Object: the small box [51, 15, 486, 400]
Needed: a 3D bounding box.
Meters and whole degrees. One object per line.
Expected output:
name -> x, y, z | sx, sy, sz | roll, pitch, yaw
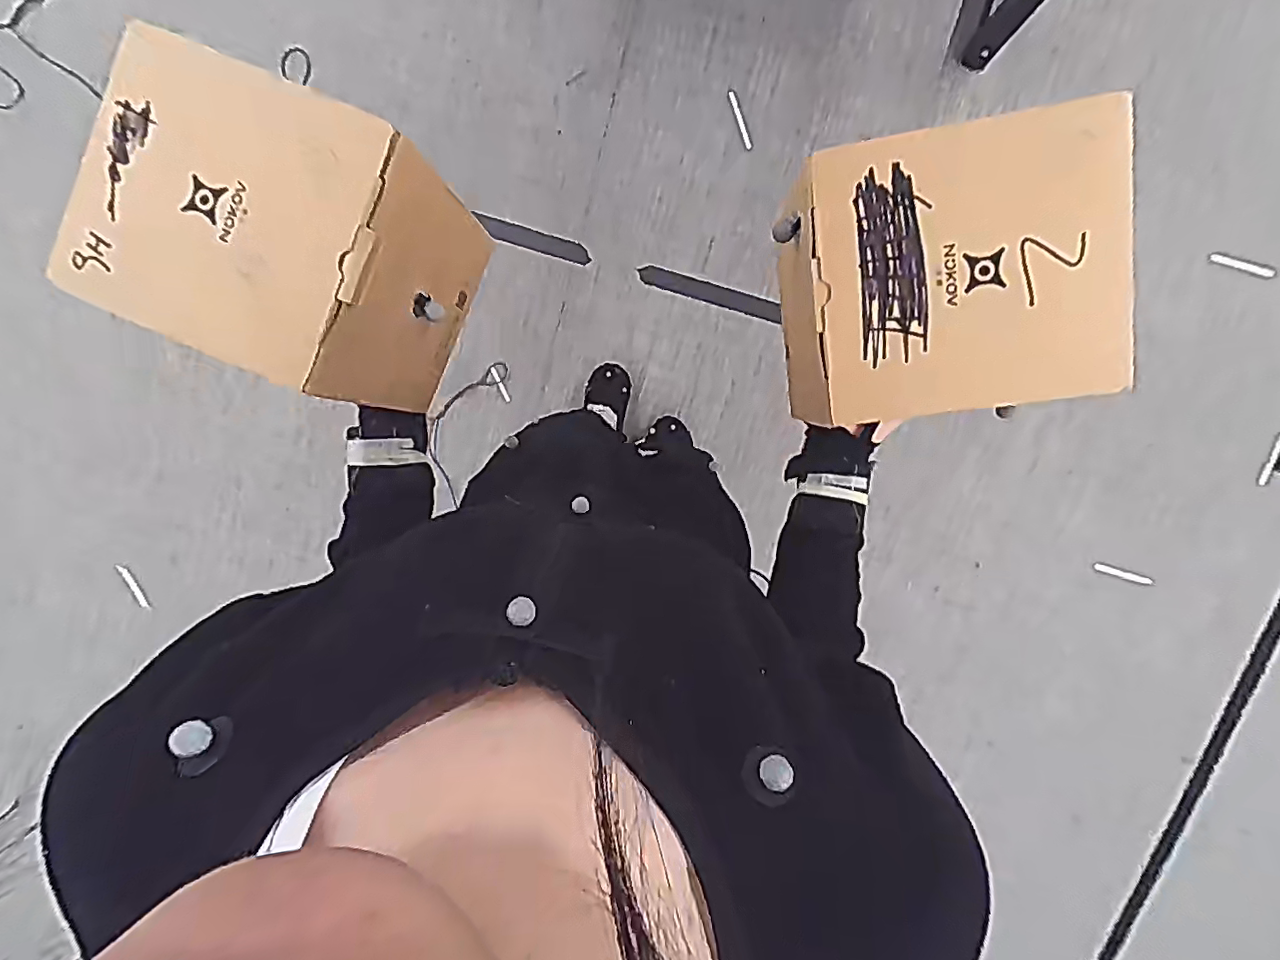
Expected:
small box -> -0.237, -0.166, 0.395 | 0.179, 0.176, 0.168 | 23, 94, 0
